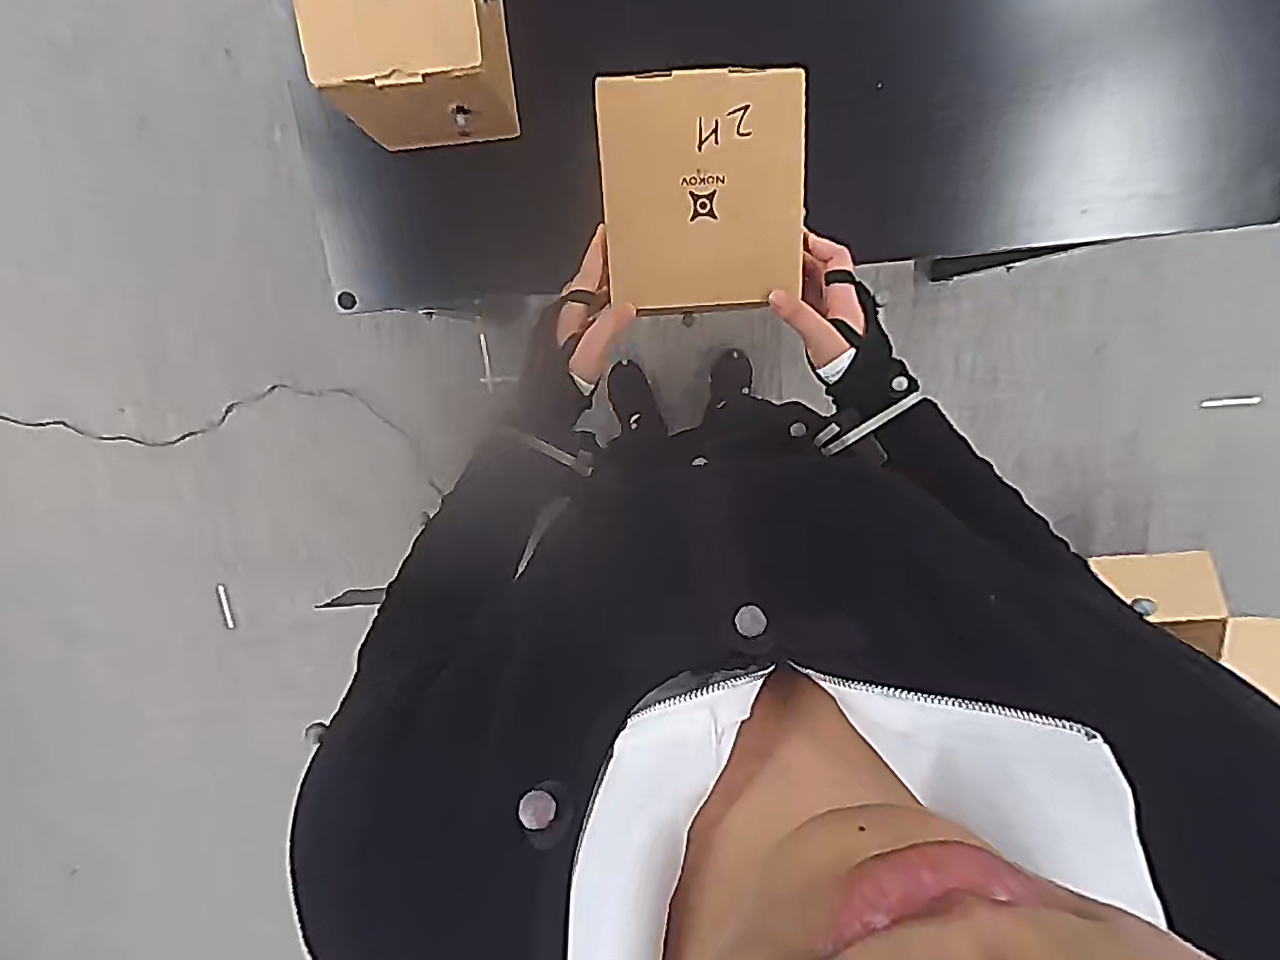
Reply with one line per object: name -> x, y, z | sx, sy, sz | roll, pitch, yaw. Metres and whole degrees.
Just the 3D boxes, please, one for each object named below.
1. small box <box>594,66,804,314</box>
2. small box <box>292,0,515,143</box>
small box -> 0.048, -0.254, 0.517 | 0.168, 0.176, 0.179 | -4, 104, -1
small box -> -0.236, -0.475, 0.562 | 0.168, 0.176, 0.179 | -6, 103, 0
